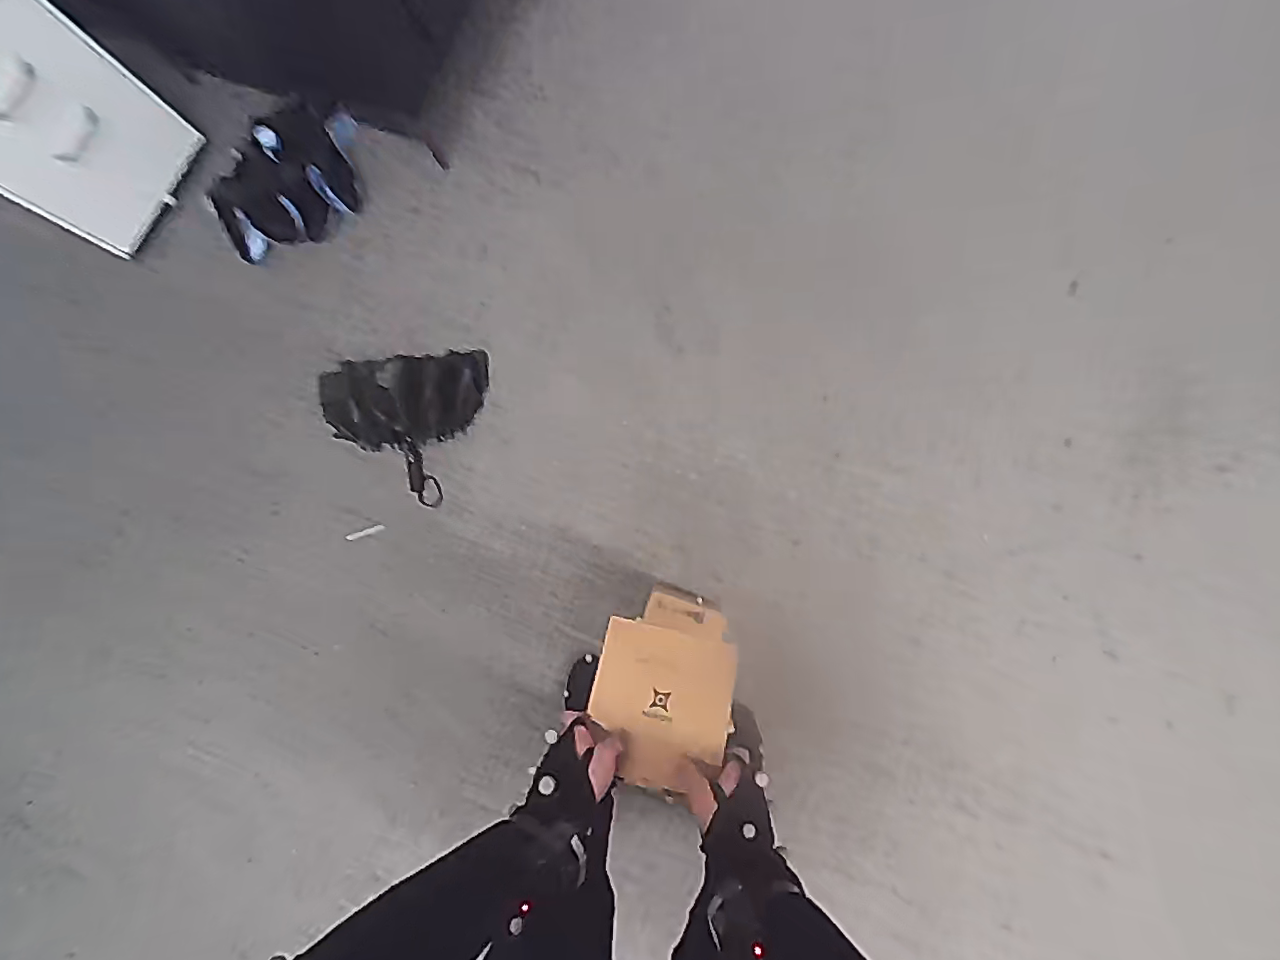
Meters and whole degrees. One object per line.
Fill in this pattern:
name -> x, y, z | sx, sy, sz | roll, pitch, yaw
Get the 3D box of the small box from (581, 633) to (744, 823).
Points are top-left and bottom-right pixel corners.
small box -> 0.030, 0.319, 0.701 | 0.168, 0.176, 0.179 | 11, 62, 5

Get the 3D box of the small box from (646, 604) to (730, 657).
small box -> 0.090, 0.385, 1.183 | 0.168, 0.176, 0.179 | 18, 84, 7
